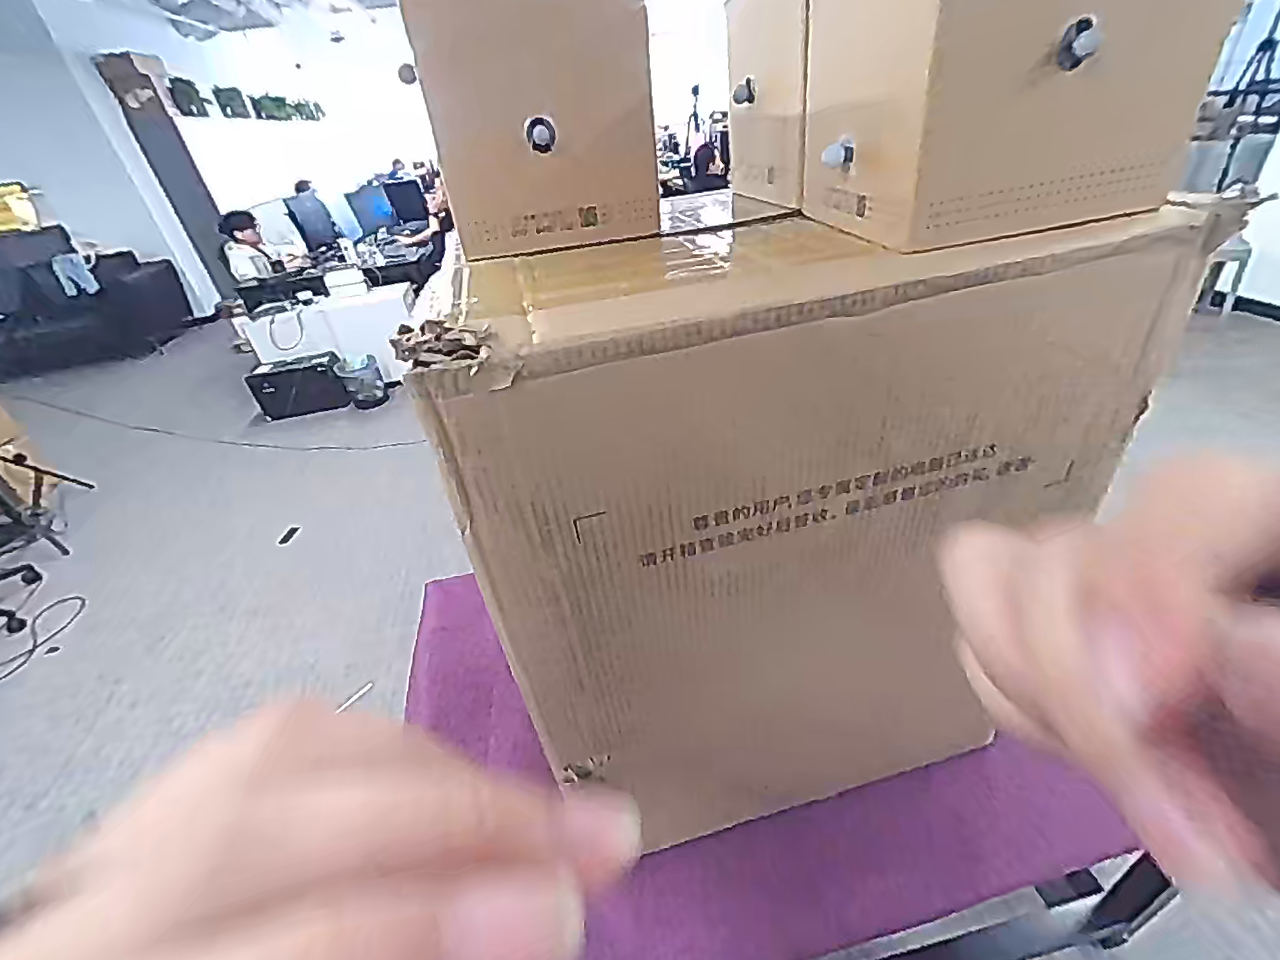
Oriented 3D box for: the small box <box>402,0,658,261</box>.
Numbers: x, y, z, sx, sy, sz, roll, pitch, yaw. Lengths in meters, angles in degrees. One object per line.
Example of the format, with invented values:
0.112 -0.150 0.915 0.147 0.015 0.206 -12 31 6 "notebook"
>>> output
-0.085 -0.296 0.468 0.168 0.176 0.179 -11 35 -8 "small box"
